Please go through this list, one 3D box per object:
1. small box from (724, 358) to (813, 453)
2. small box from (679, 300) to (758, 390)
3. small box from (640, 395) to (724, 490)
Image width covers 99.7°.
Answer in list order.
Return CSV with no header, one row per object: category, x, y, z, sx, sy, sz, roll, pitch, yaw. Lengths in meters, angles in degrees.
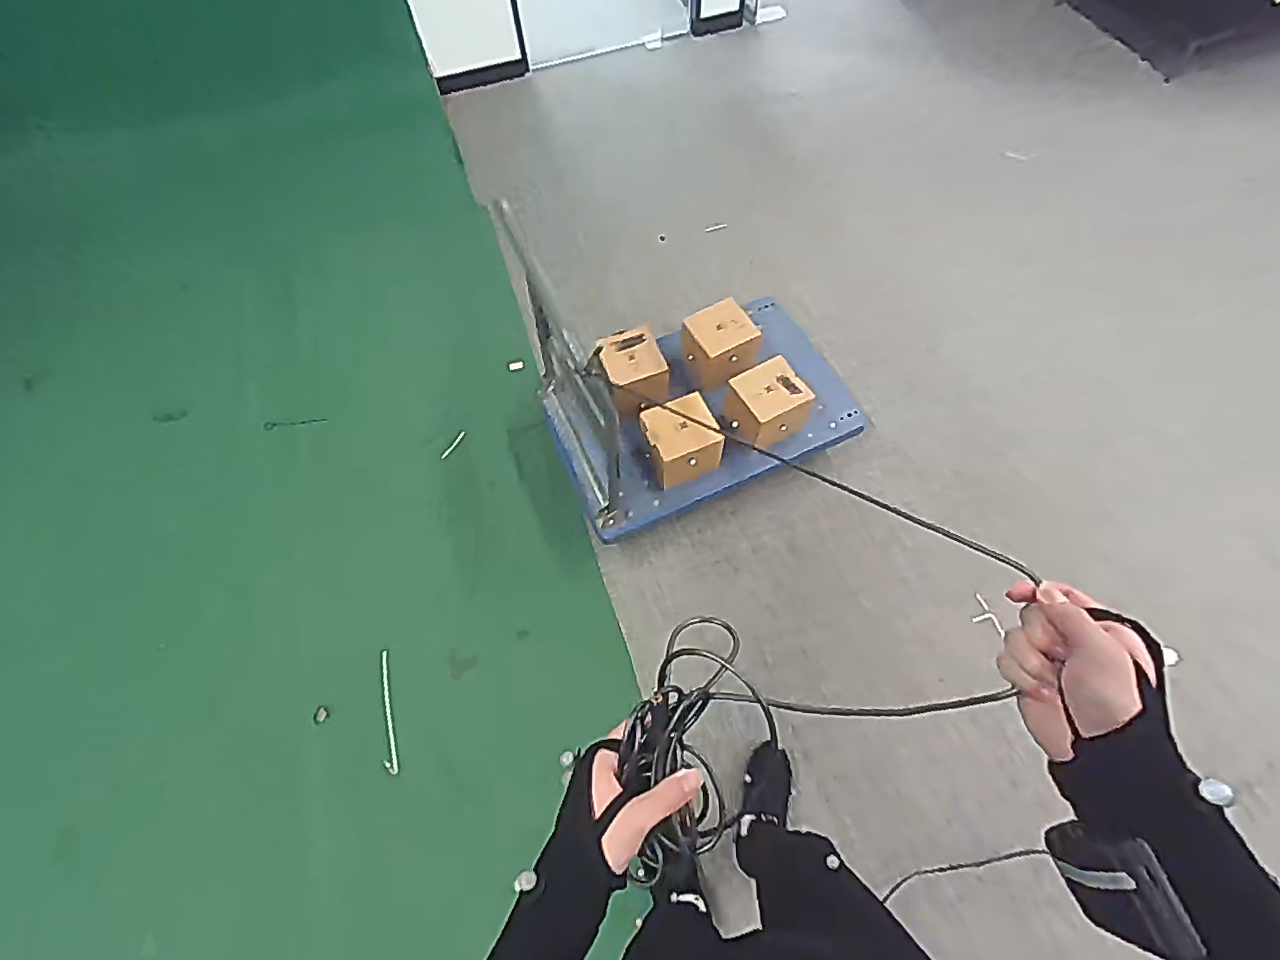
small box,0.355,-0.207,1.531,0.179,0.176,0.168,-27,65,-10
small box,0.233,-0.402,1.633,0.179,0.176,0.168,-27,66,-10
small box,0.110,-0.100,1.491,0.179,0.176,0.168,-23,65,-8
